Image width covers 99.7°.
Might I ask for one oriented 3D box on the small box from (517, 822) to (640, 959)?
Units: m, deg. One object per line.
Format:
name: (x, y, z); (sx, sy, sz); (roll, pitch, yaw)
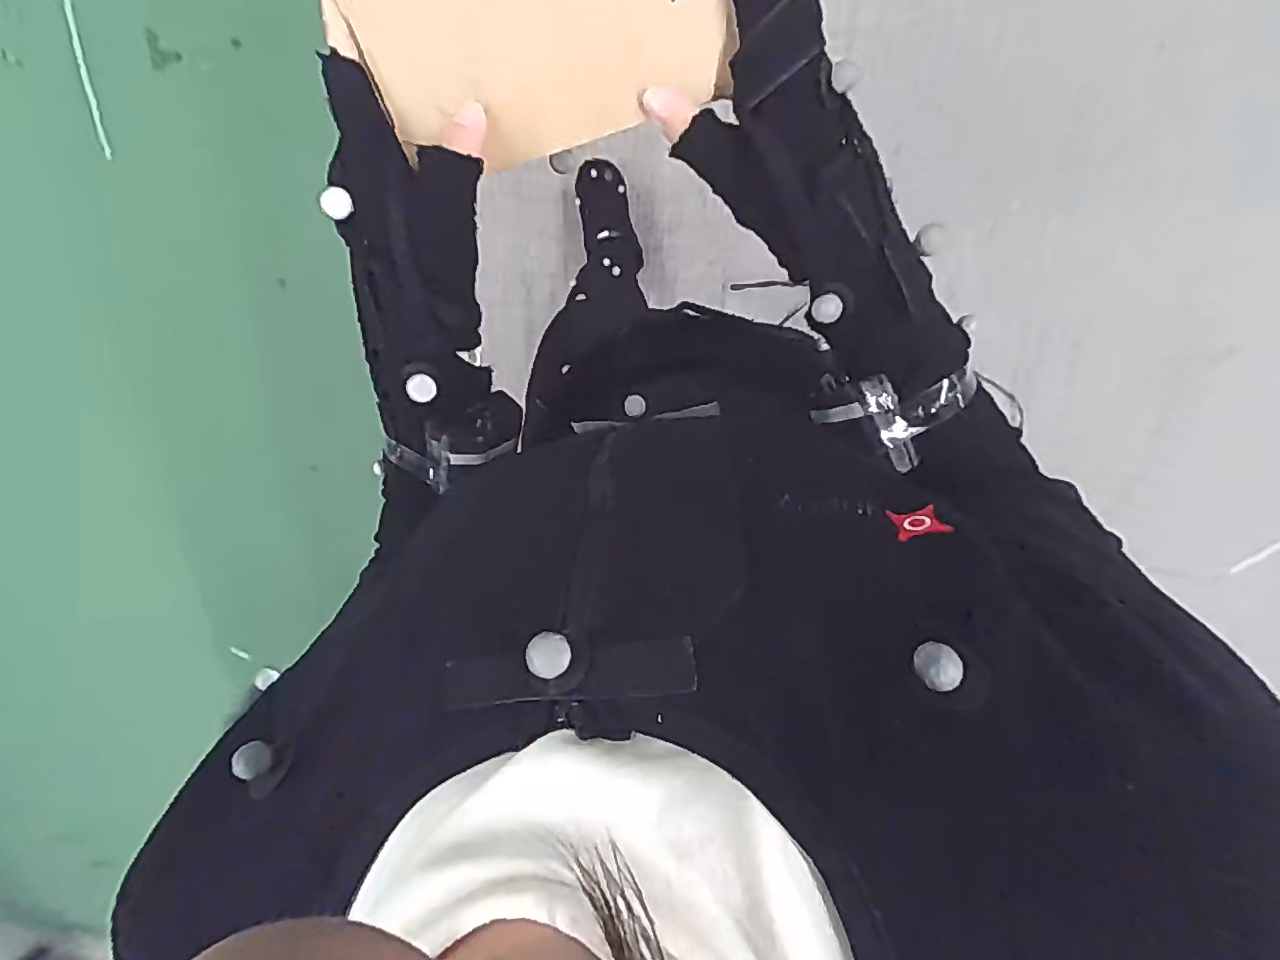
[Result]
small box: (-0.089, 0.700, 0.880); (0.168, 0.176, 0.179); (1, 110, 5)

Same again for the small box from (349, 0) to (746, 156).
small box: (-0.057, -0.295, 0.295); (0.179, 0.176, 0.168); (-17, 122, 7)
